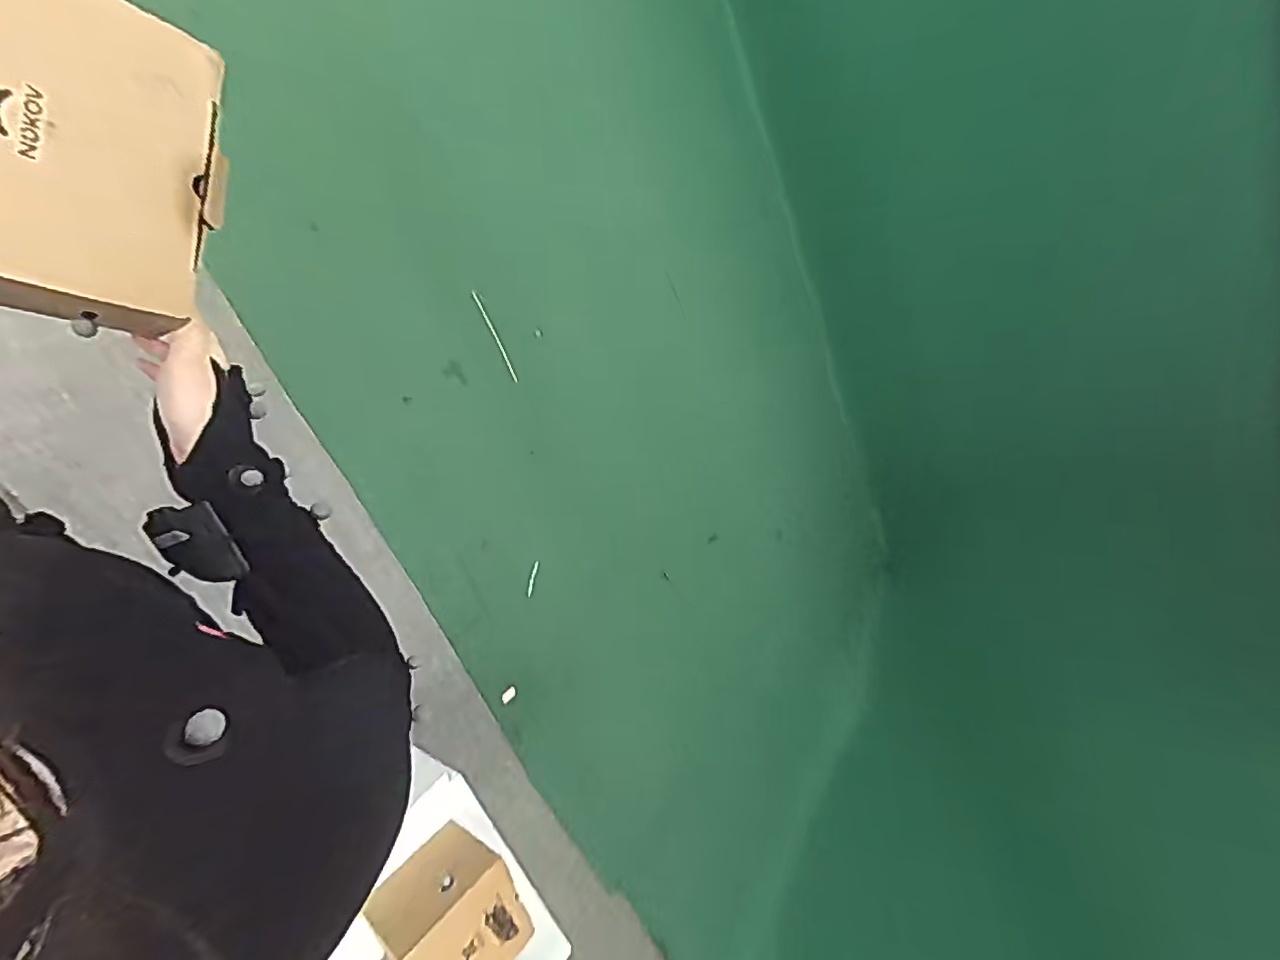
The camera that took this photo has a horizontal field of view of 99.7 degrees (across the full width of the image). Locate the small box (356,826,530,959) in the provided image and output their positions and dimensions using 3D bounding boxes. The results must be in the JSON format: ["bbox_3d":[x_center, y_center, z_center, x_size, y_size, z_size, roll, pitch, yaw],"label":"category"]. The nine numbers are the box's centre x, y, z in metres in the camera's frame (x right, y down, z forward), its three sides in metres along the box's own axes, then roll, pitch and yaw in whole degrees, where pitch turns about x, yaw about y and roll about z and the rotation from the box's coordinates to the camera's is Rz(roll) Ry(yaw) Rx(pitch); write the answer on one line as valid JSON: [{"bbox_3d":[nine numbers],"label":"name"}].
[{"bbox_3d":[-0.313,0.703,0.861,0.179,0.176,0.168,-30,107,-43],"label":"small box"}]

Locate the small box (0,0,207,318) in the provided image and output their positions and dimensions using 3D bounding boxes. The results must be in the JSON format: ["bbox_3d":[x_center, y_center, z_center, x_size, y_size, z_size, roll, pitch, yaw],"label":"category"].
[{"bbox_3d":[-0.384,-0.200,0.313,0.179,0.176,0.168,5,92,-47],"label":"small box"}]
